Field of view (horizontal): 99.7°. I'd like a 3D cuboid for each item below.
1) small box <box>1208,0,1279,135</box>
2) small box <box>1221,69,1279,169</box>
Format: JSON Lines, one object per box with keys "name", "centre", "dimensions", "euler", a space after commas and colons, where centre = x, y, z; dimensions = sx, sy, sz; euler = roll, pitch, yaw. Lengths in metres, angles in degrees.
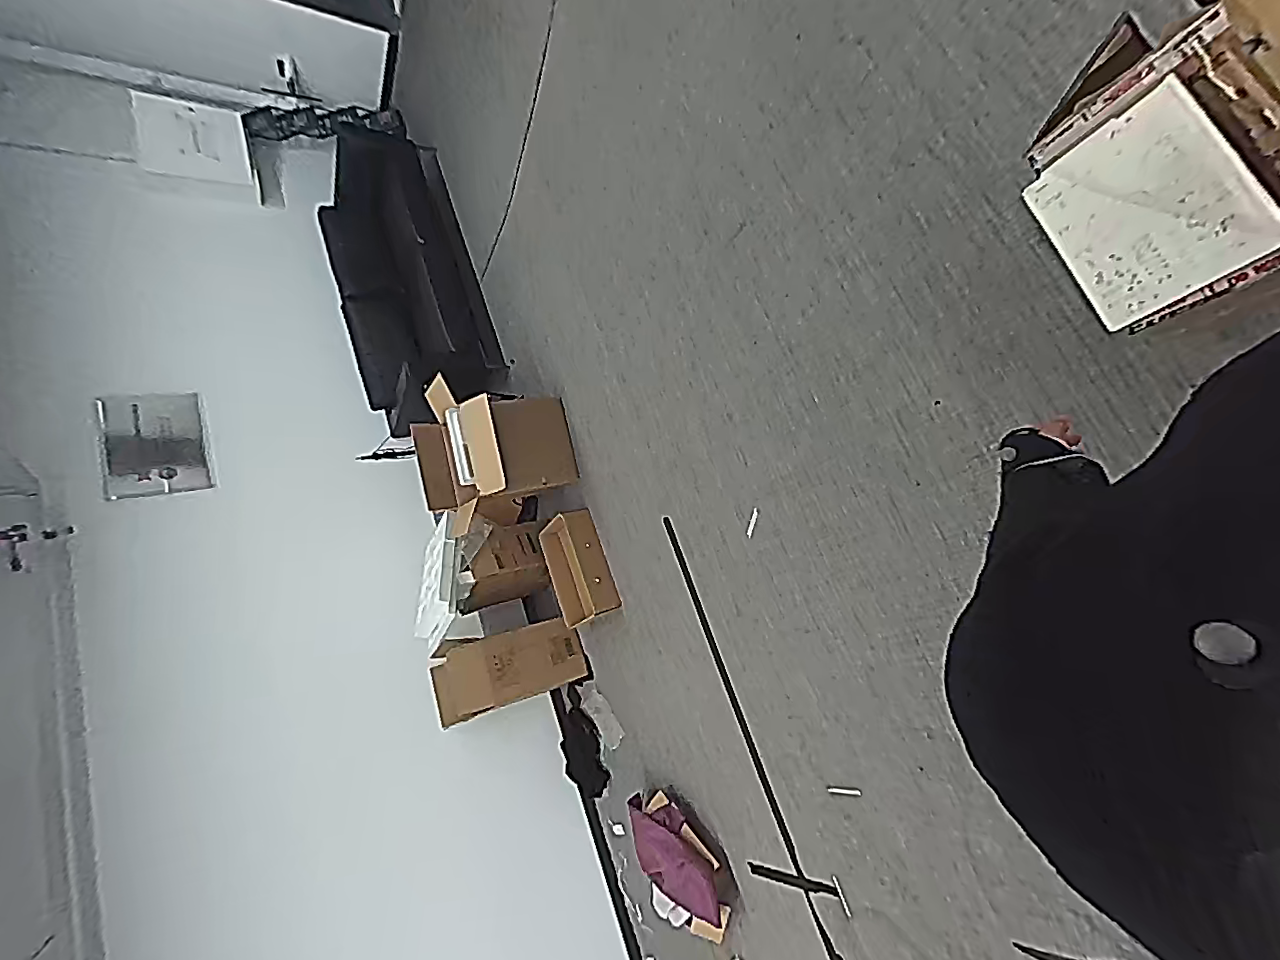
{"name": "small box", "centre": [0.631, -0.384, 0.446], "dimensions": [0.168, 0.176, 0.179], "euler": [-36, 71, 51]}
{"name": "small box", "centre": [0.759, -0.409, 0.546], "dimensions": [0.179, 0.176, 0.168], "euler": [-41, 67, 50]}
